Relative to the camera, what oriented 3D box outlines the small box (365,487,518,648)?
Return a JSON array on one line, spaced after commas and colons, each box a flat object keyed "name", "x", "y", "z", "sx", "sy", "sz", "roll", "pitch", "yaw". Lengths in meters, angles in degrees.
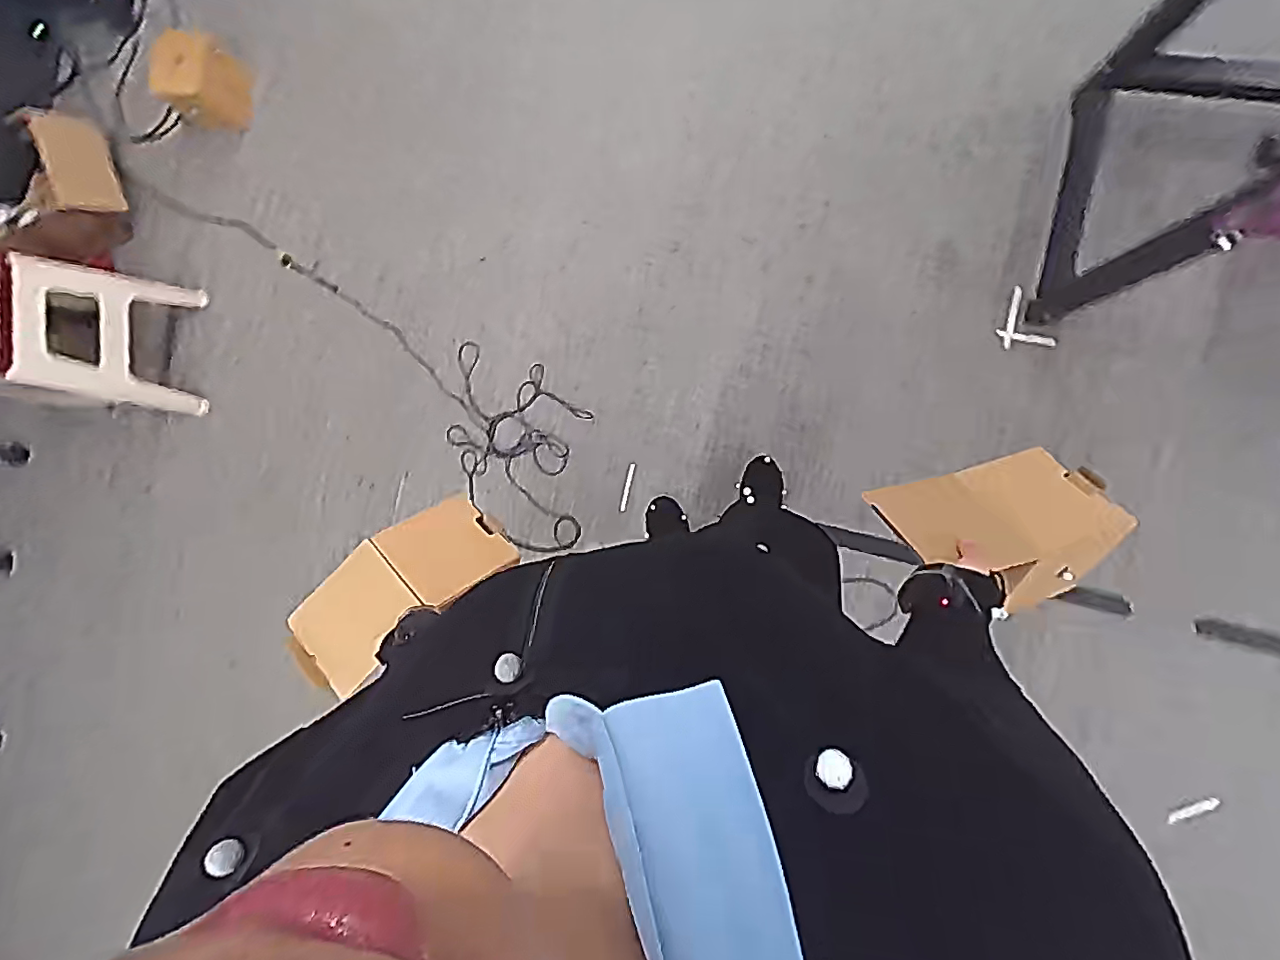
[{"name": "small box", "x": -0.332, "y": 0.149, "z": 0.910, "sx": 0.168, "sy": 0.179, "sz": 0.176, "roll": 44, "pitch": 137, "yaw": 17}]
